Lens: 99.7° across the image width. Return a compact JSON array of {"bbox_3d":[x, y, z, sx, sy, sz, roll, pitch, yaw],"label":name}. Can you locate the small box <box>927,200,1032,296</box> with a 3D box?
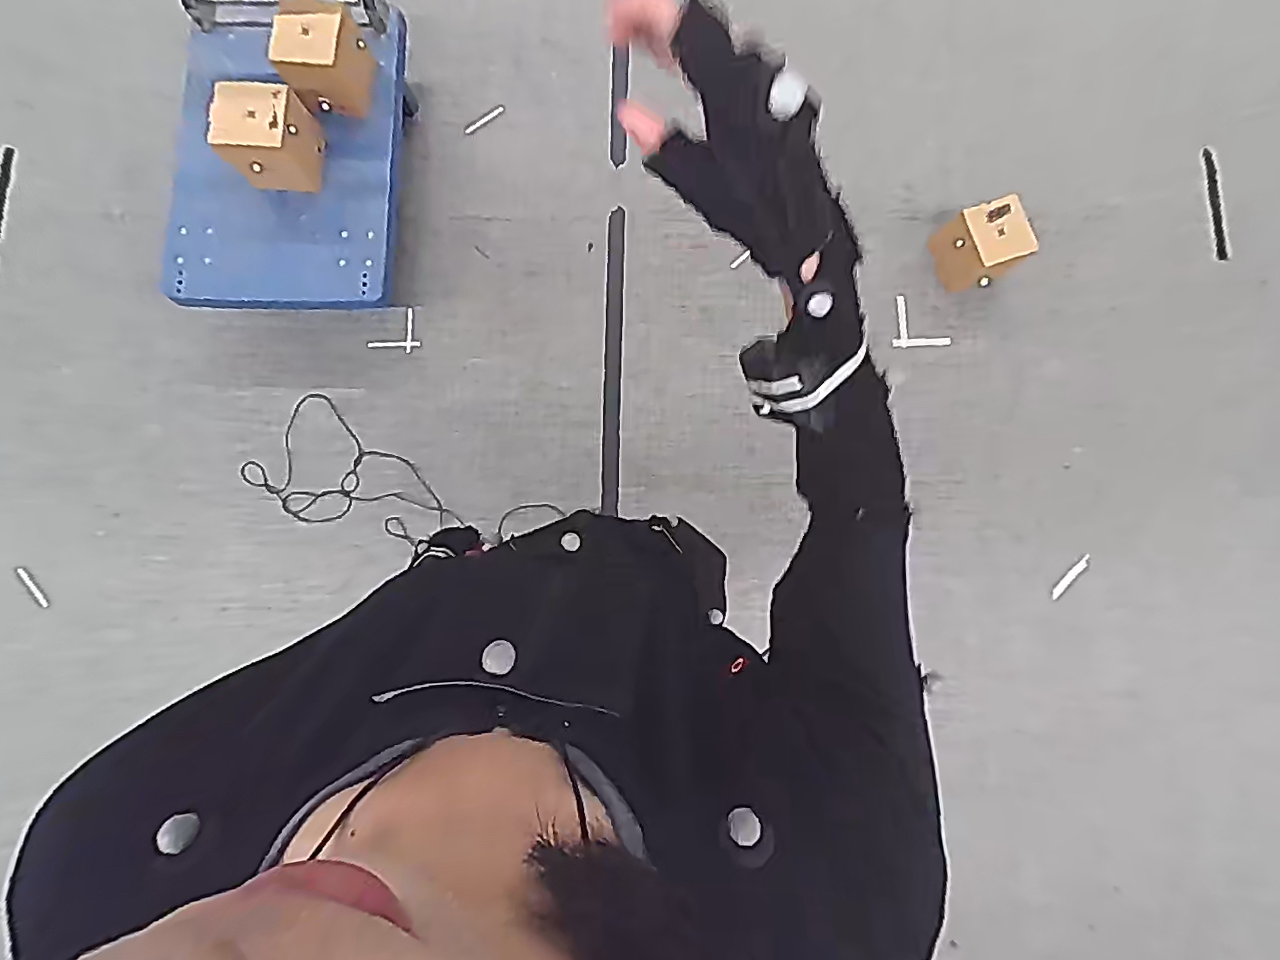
[{"bbox_3d":[0.971,-0.666,1.567,0.168,0.176,0.179,-18,85,-3],"label":"small box"}]

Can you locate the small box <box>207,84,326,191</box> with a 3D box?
[{"bbox_3d":[-0.937,-0.859,1.368,0.179,0.176,0.168,2,85,0],"label":"small box"}]

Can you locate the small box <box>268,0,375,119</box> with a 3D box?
[{"bbox_3d":[-0.812,-1.081,1.397,0.168,0.176,0.179,5,85,2],"label":"small box"}]
